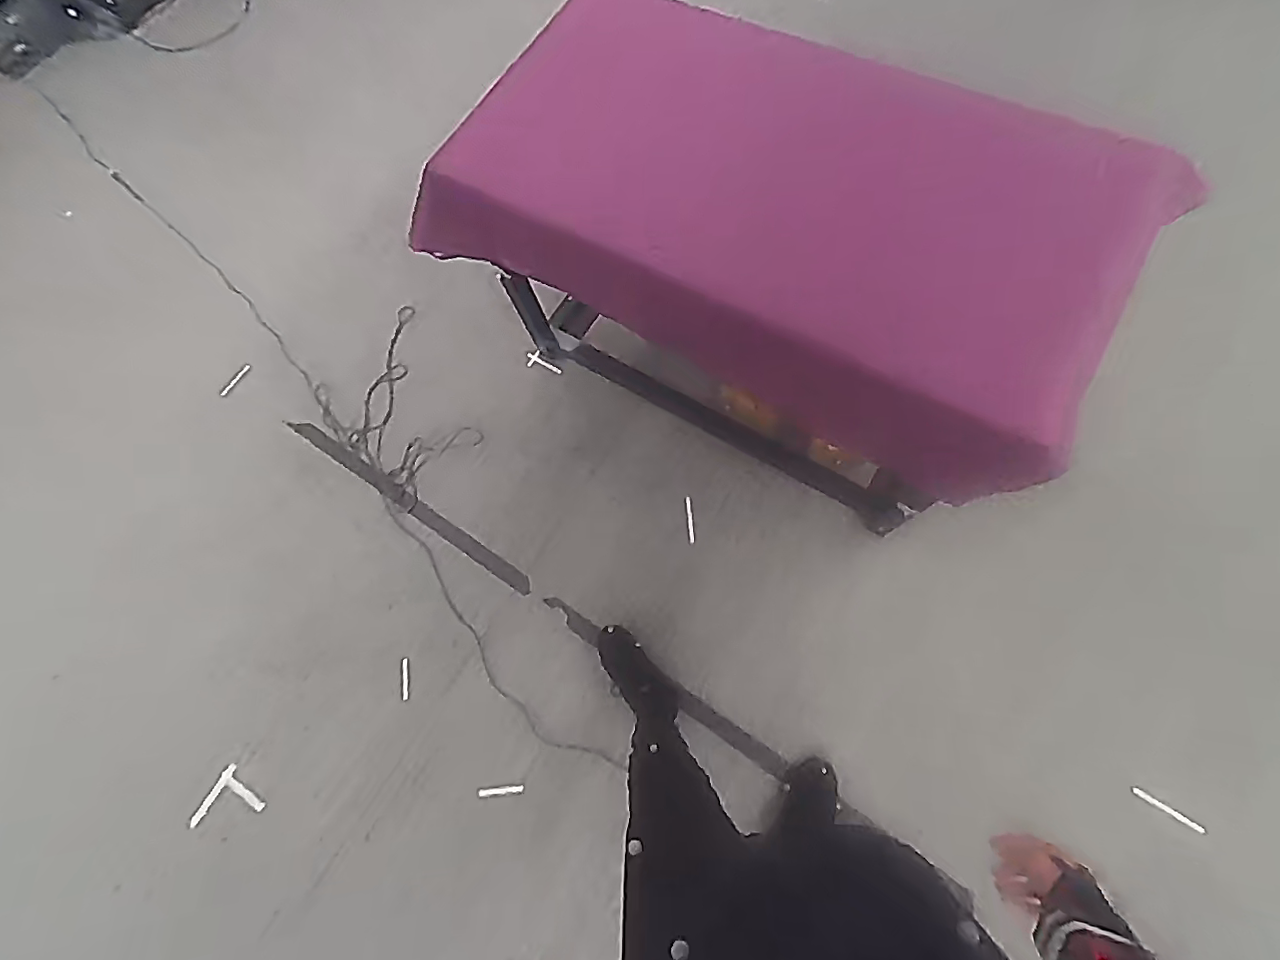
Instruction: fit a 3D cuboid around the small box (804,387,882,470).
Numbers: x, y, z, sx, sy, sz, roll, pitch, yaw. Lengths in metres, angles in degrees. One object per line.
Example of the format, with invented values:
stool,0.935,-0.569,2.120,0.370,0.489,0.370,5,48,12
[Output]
small box,0.552,-0.139,1.491,0.168,0.176,0.179,1,72,8
